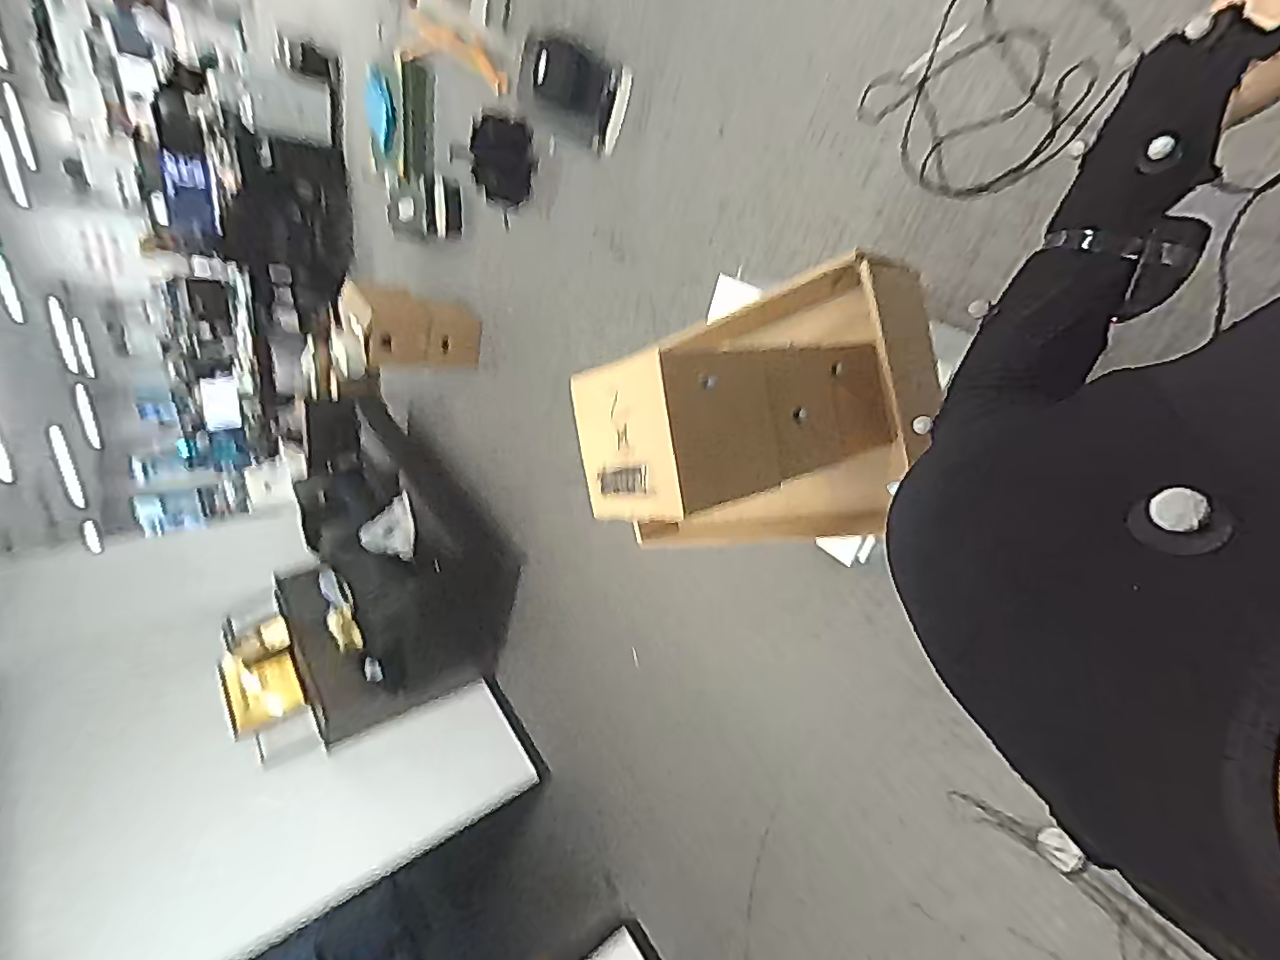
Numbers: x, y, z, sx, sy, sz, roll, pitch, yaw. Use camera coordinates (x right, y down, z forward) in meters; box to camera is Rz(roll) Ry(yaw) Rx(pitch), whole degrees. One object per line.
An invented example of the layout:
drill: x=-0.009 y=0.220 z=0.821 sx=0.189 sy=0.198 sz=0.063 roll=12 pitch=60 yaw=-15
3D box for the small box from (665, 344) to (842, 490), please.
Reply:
small box: x=0.165 y=-0.090 z=0.783 sx=0.168 sy=0.176 sz=0.179 roll=-9 pitch=95 yaw=52
